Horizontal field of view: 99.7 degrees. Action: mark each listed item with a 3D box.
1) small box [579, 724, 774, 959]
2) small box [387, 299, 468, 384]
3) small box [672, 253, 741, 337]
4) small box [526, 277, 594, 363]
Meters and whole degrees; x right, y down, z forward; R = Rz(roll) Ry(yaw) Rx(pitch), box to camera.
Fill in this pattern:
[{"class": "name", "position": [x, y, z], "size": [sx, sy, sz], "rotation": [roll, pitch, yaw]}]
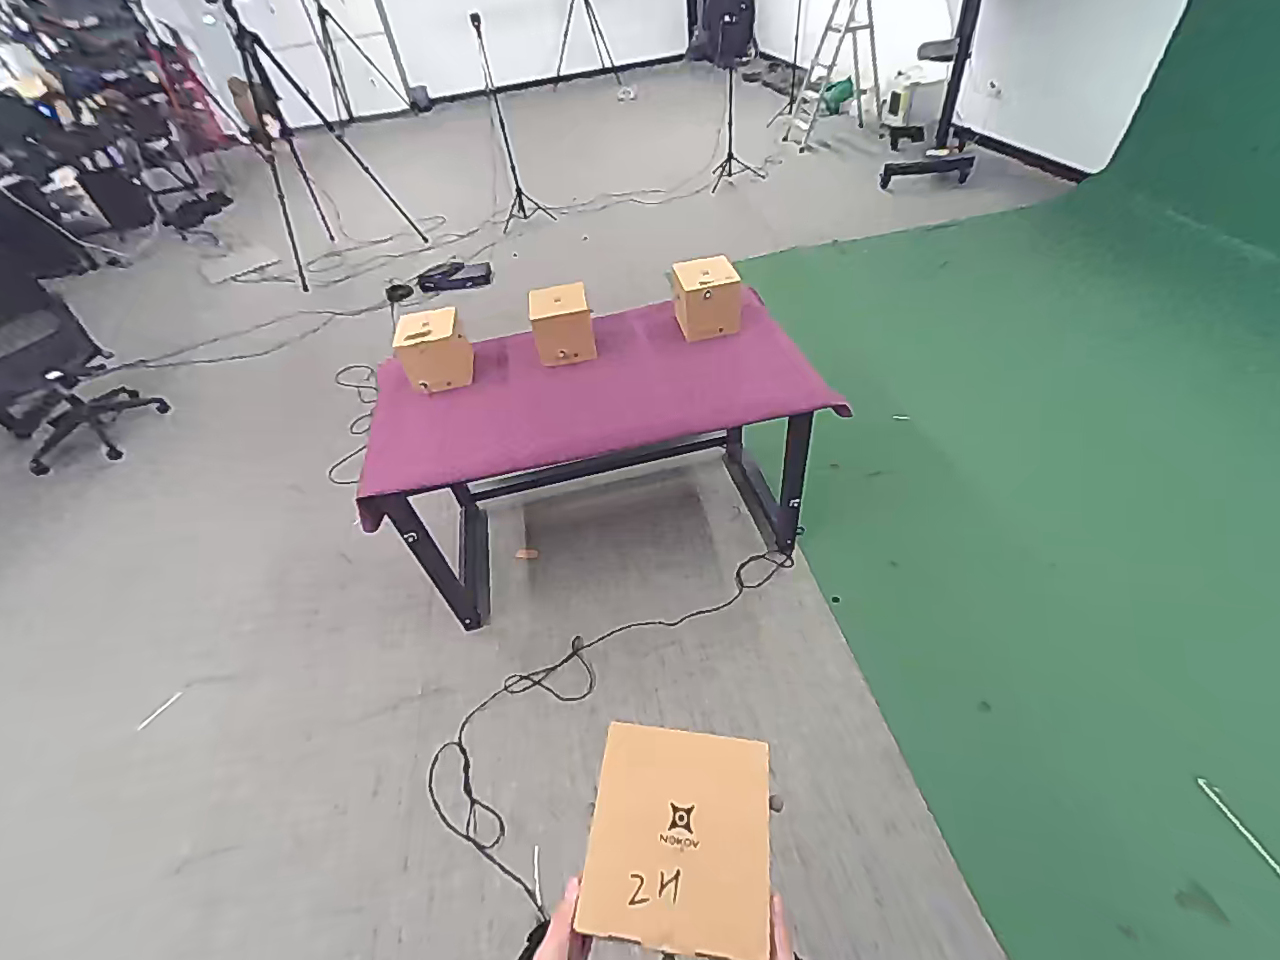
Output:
[{"class": "small box", "position": [0.044, 0.381, 0.562], "size": [0.168, 0.176, 0.179], "rotation": [5, 49, 8]}, {"class": "small box", "position": [-0.603, -0.391, 1.558], "size": [0.168, 0.176, 0.179], "rotation": [-10, 47, -4]}, {"class": "small box", "position": [0.194, -0.550, 1.610], "size": [0.168, 0.176, 0.179], "rotation": [-12, 47, -2]}, {"class": "small box", "position": [-0.235, -0.471, 1.593], "size": [0.168, 0.176, 0.179], "rotation": [-10, 48, -1]}]
